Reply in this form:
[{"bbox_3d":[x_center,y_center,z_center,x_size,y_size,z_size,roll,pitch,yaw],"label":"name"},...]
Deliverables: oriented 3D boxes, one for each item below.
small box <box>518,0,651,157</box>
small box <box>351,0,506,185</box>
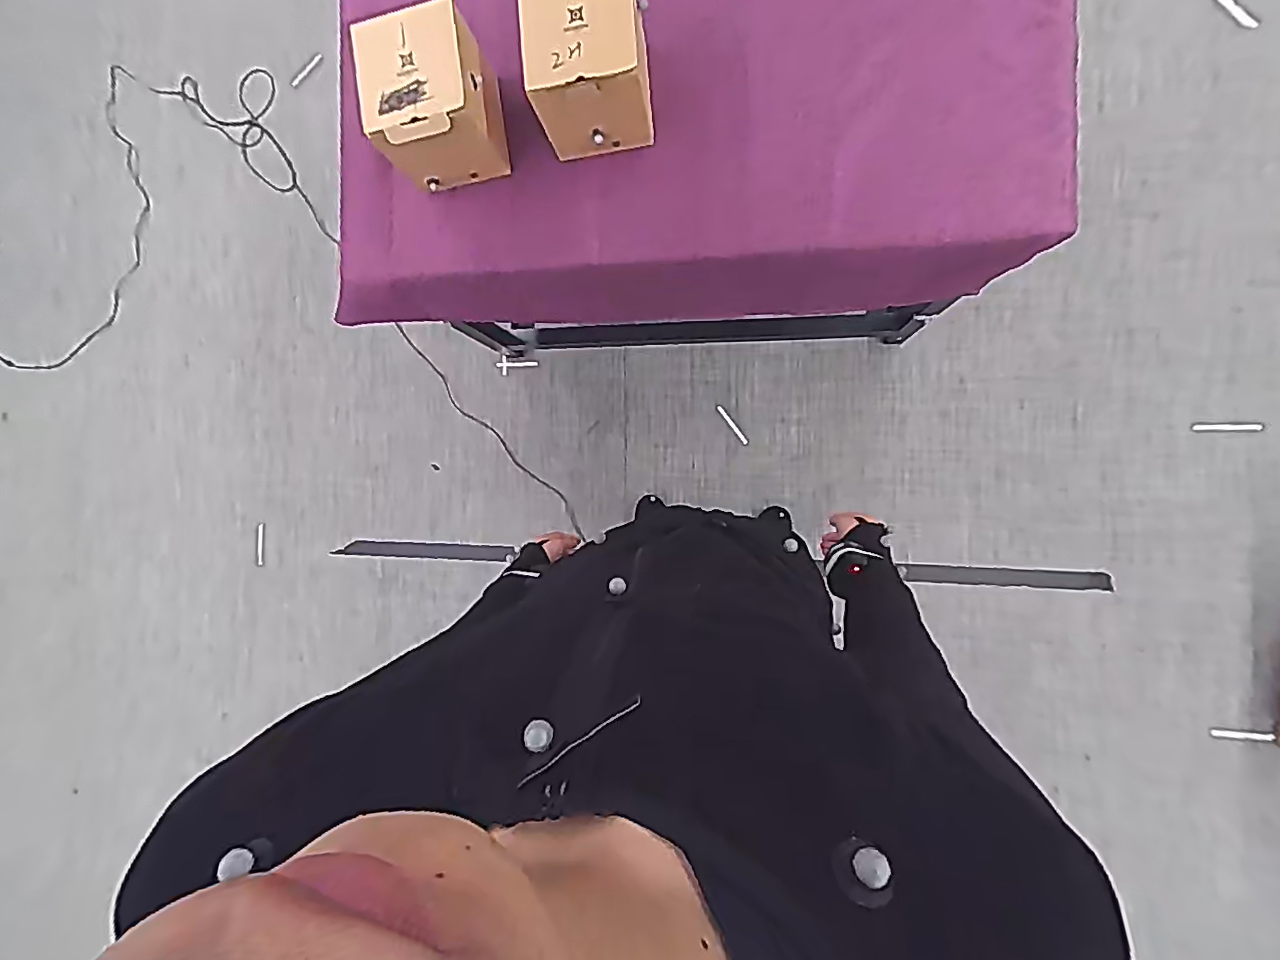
[{"bbox_3d":[-0.078,-0.642,0.835,0.168,0.176,0.179,-5,89,9],"label":"small box"},{"bbox_3d":[-0.330,-0.608,0.874,0.168,0.176,0.179,-9,88,8],"label":"small box"}]
